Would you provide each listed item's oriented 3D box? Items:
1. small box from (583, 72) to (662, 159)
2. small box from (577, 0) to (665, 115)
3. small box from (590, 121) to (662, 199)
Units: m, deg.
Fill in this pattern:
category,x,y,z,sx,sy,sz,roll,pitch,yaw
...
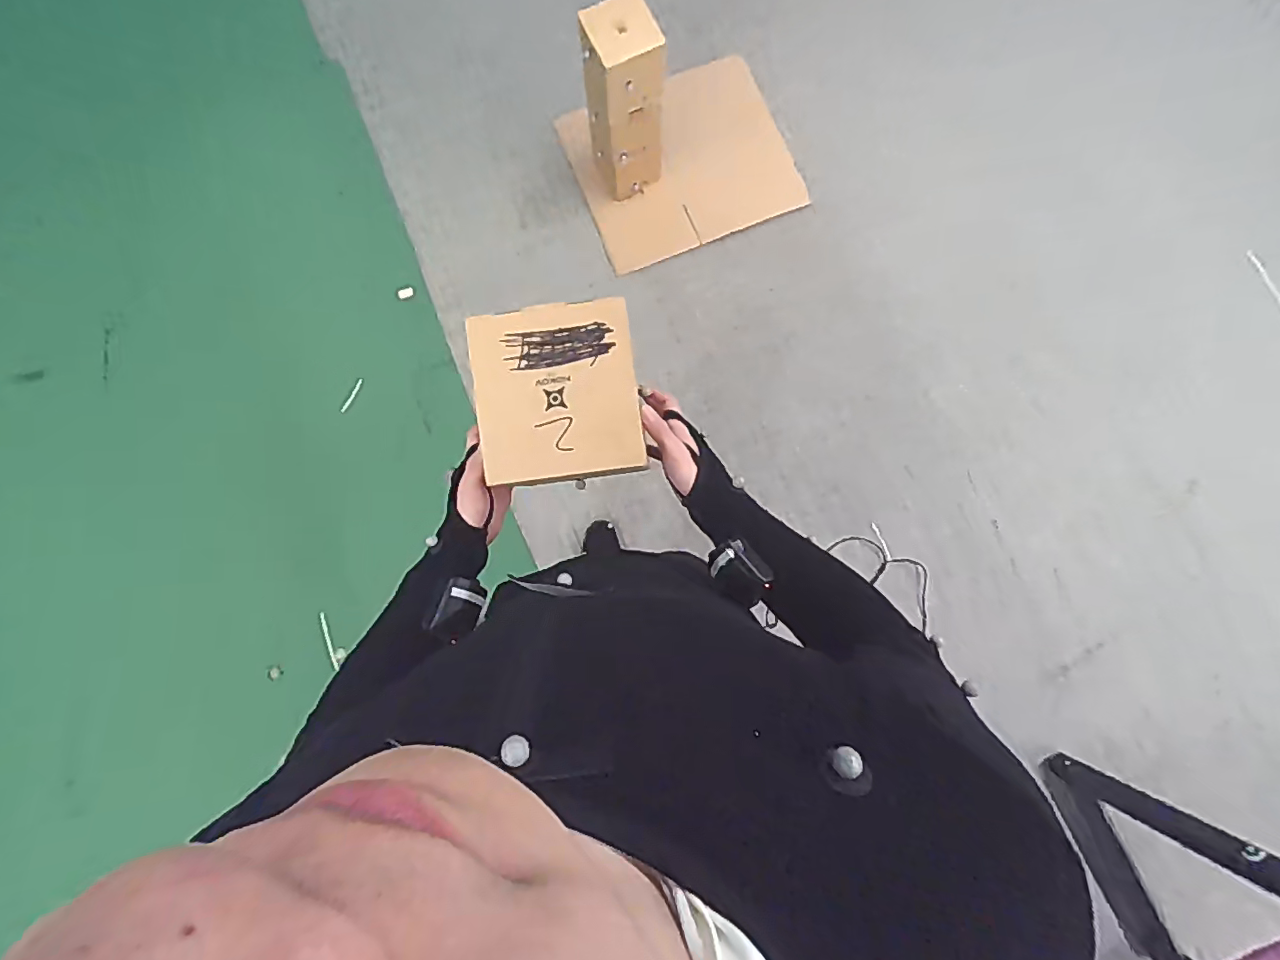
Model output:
category,x,y,z,sx,sy,sz,roll,pitch,yaw
small box,-0.045,-1.061,1.549,0.168,0.176,0.179,-26,82,-3
small box,-0.043,-1.086,1.389,0.168,0.176,0.179,-26,82,-2
small box,-0.043,-1.039,1.711,0.168,0.176,0.179,-29,83,-3
